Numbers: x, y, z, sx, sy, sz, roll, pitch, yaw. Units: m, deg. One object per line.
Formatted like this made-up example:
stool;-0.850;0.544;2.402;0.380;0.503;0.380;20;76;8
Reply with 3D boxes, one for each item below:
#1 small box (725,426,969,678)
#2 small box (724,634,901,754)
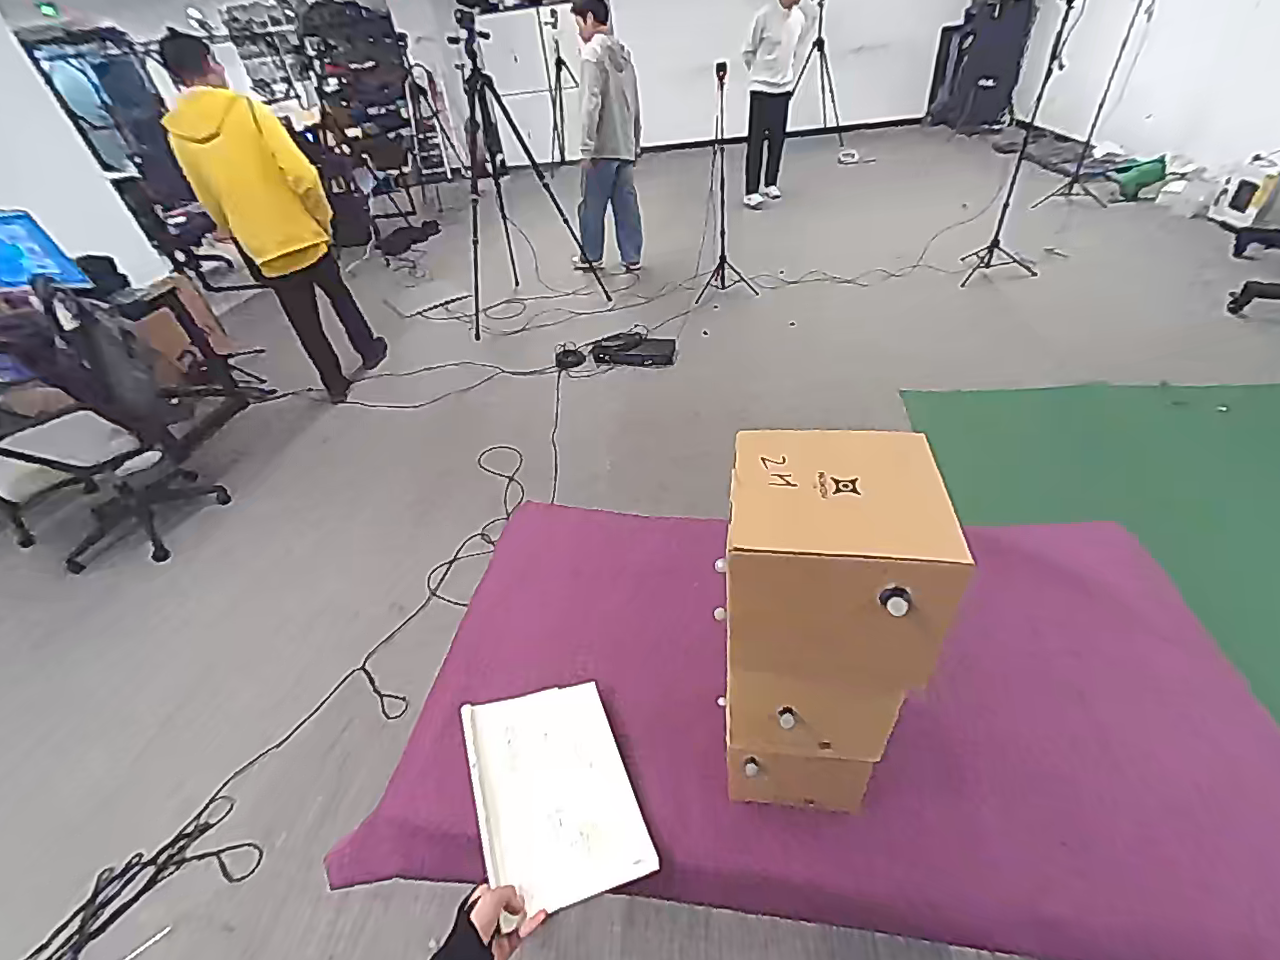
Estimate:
small box;0.175;0.066;0.512;0.179;0.176;0.168;2;39;12
small box;0.184;0.189;0.622;0.168;0.176;0.179;1;39;10
